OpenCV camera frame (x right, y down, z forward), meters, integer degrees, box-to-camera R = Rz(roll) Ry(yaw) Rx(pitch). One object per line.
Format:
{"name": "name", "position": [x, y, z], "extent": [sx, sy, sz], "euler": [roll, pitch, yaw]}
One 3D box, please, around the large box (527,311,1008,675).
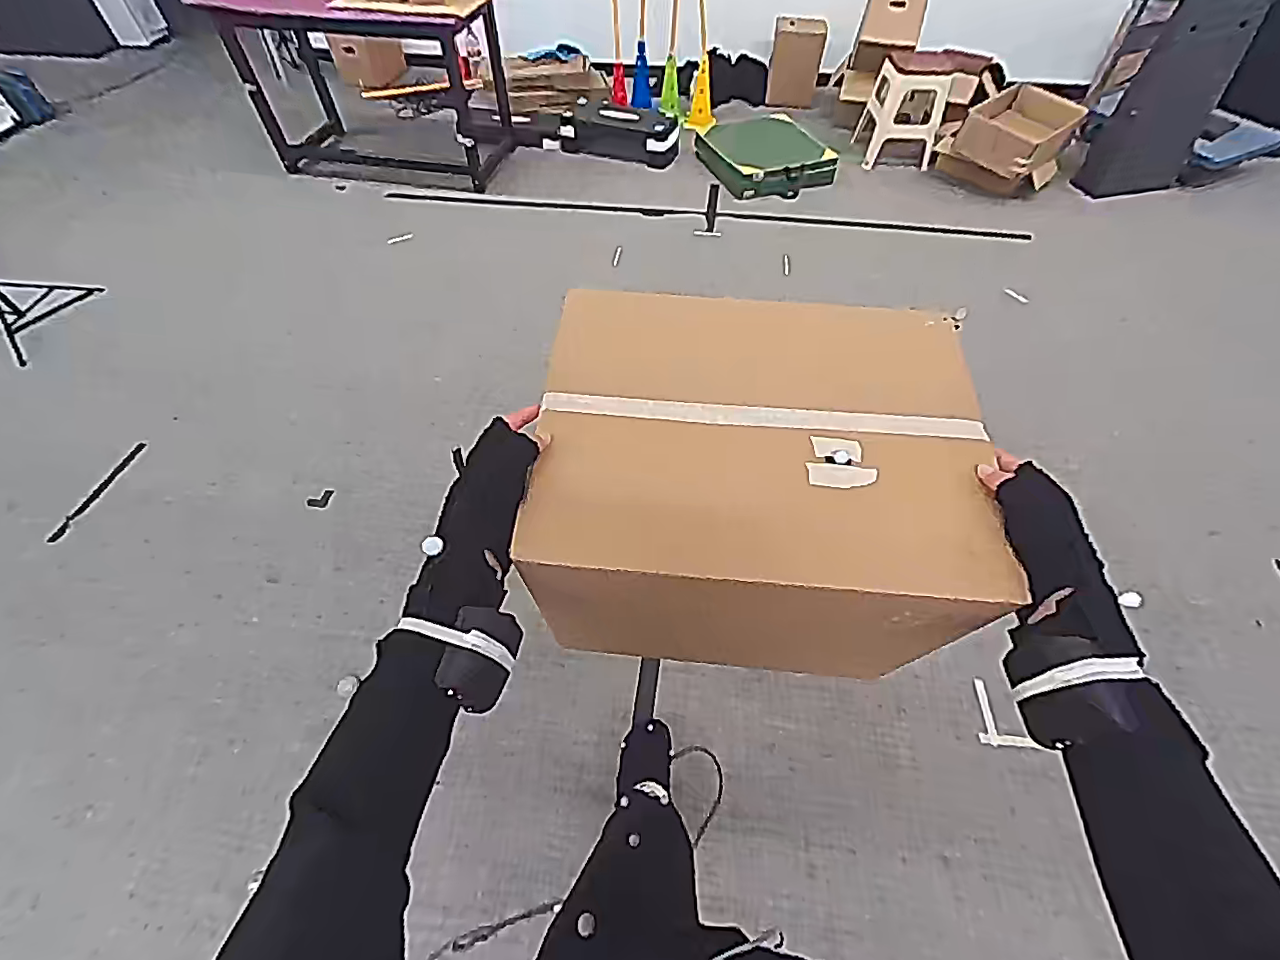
{"name": "large box", "position": [0.110, 0.031, 0.644], "extent": [0.408, 0.320, 0.320], "euler": [5, 60, 2]}
